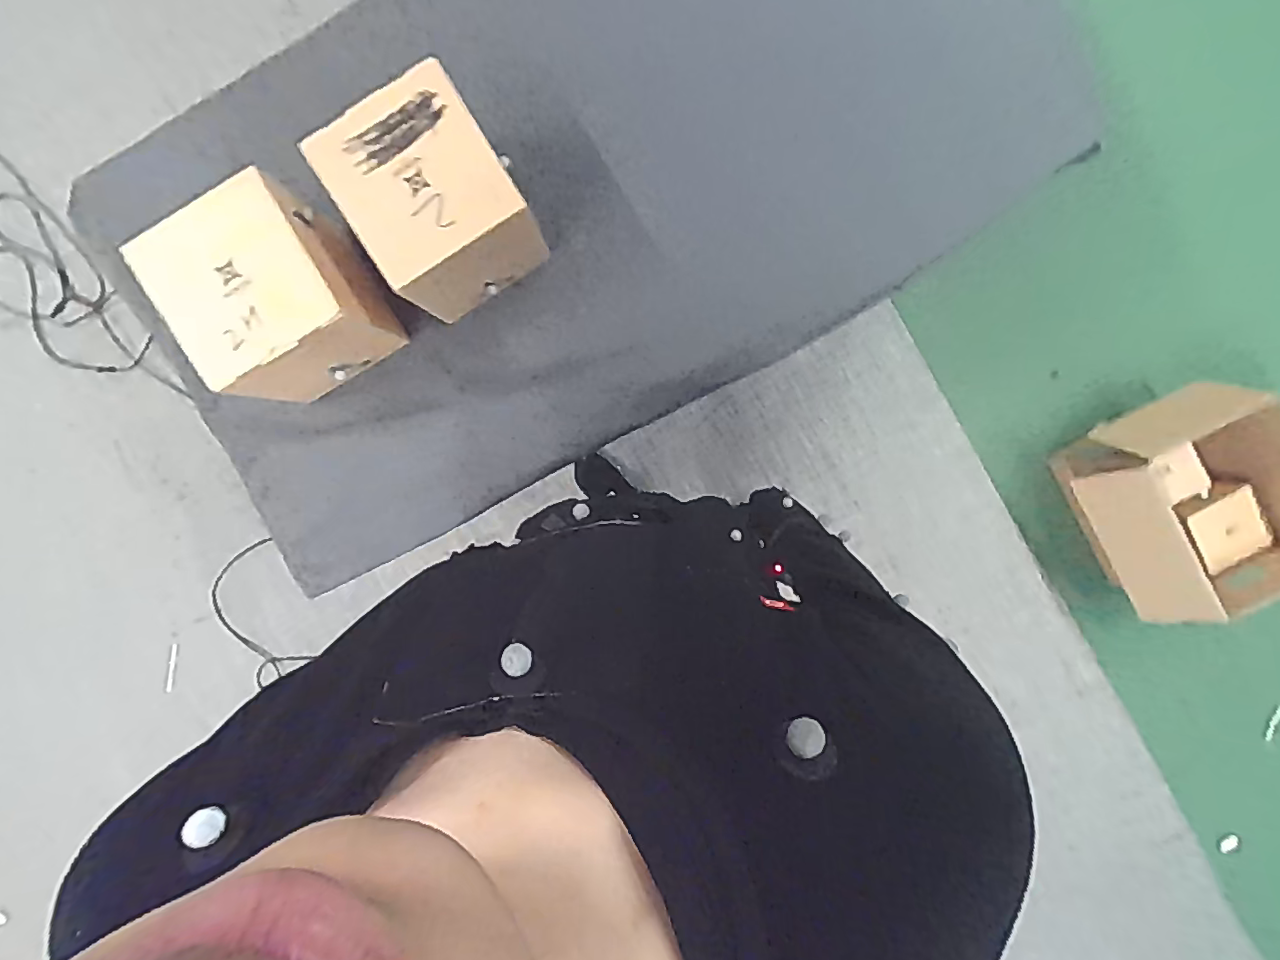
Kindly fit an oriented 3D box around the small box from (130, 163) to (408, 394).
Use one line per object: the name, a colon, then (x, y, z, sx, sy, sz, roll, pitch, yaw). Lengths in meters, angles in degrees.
small box: (-0.415, -0.218, 0.639, 0.168, 0.176, 0.179, -30, 94, 2)
